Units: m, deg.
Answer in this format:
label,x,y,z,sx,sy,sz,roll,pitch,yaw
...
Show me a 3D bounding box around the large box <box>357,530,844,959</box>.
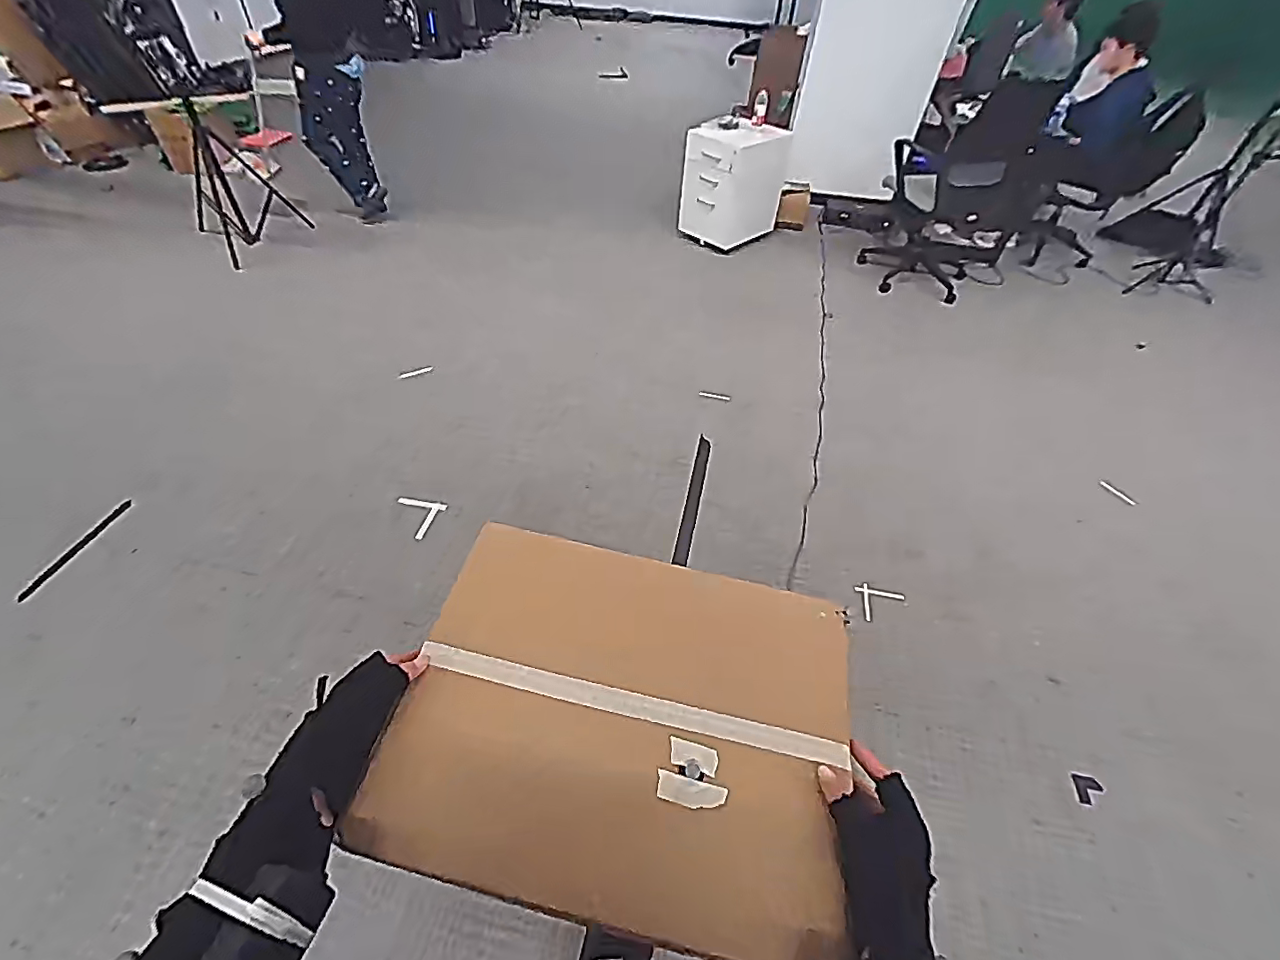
label,x,y,z,sx,sy,sz,roll,pitch,yaw
large box,-0.021,0.303,0.631,0.408,0.320,0.320,13,51,5
